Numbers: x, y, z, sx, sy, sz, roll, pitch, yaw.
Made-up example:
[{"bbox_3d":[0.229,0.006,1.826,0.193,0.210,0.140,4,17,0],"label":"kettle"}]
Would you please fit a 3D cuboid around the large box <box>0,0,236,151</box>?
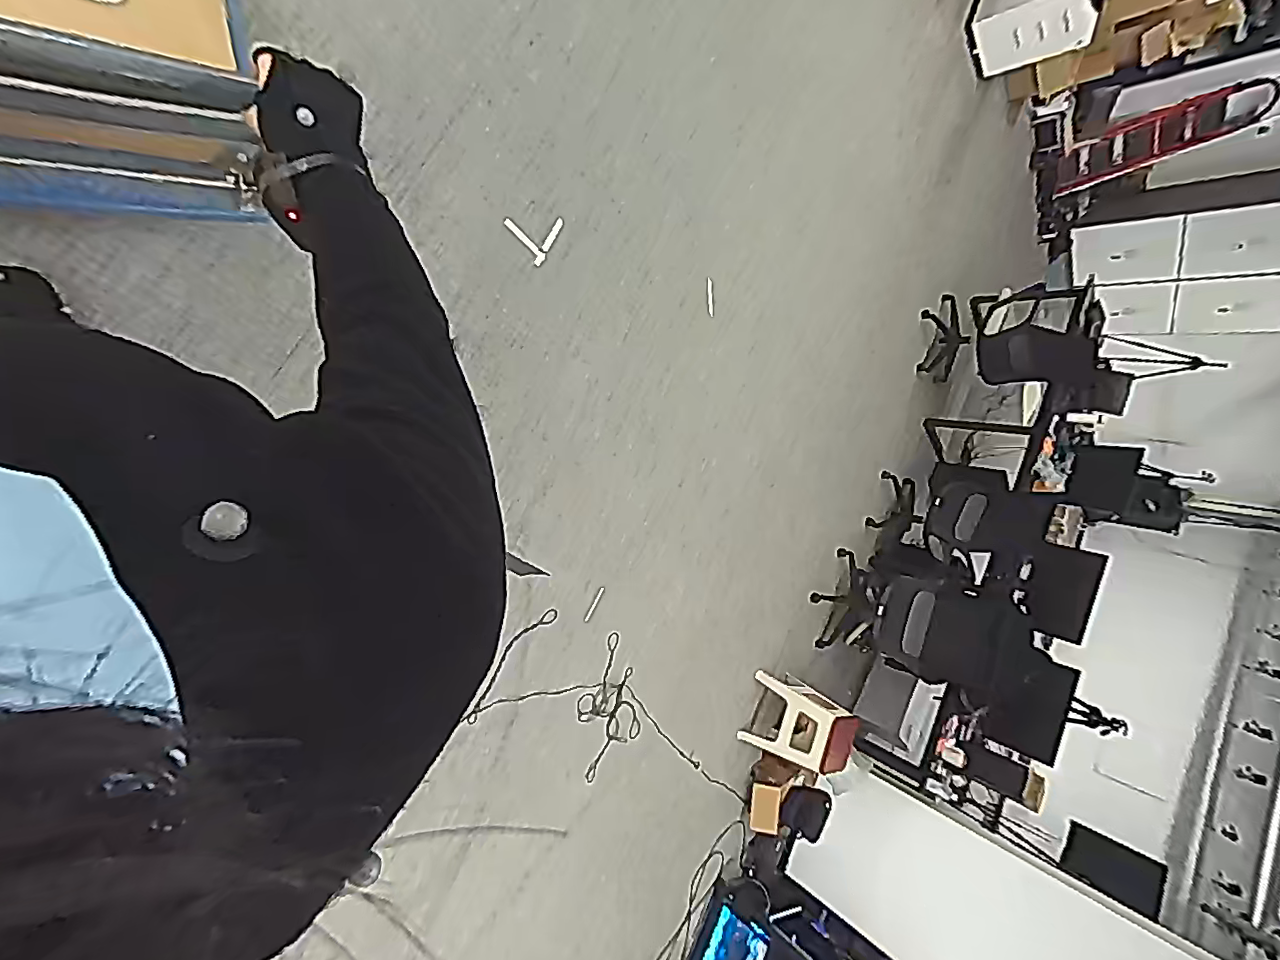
[{"bbox_3d":[-0.833,-0.670,0.705,0.408,0.320,0.320,-18,112,-43],"label":"large box"}]
